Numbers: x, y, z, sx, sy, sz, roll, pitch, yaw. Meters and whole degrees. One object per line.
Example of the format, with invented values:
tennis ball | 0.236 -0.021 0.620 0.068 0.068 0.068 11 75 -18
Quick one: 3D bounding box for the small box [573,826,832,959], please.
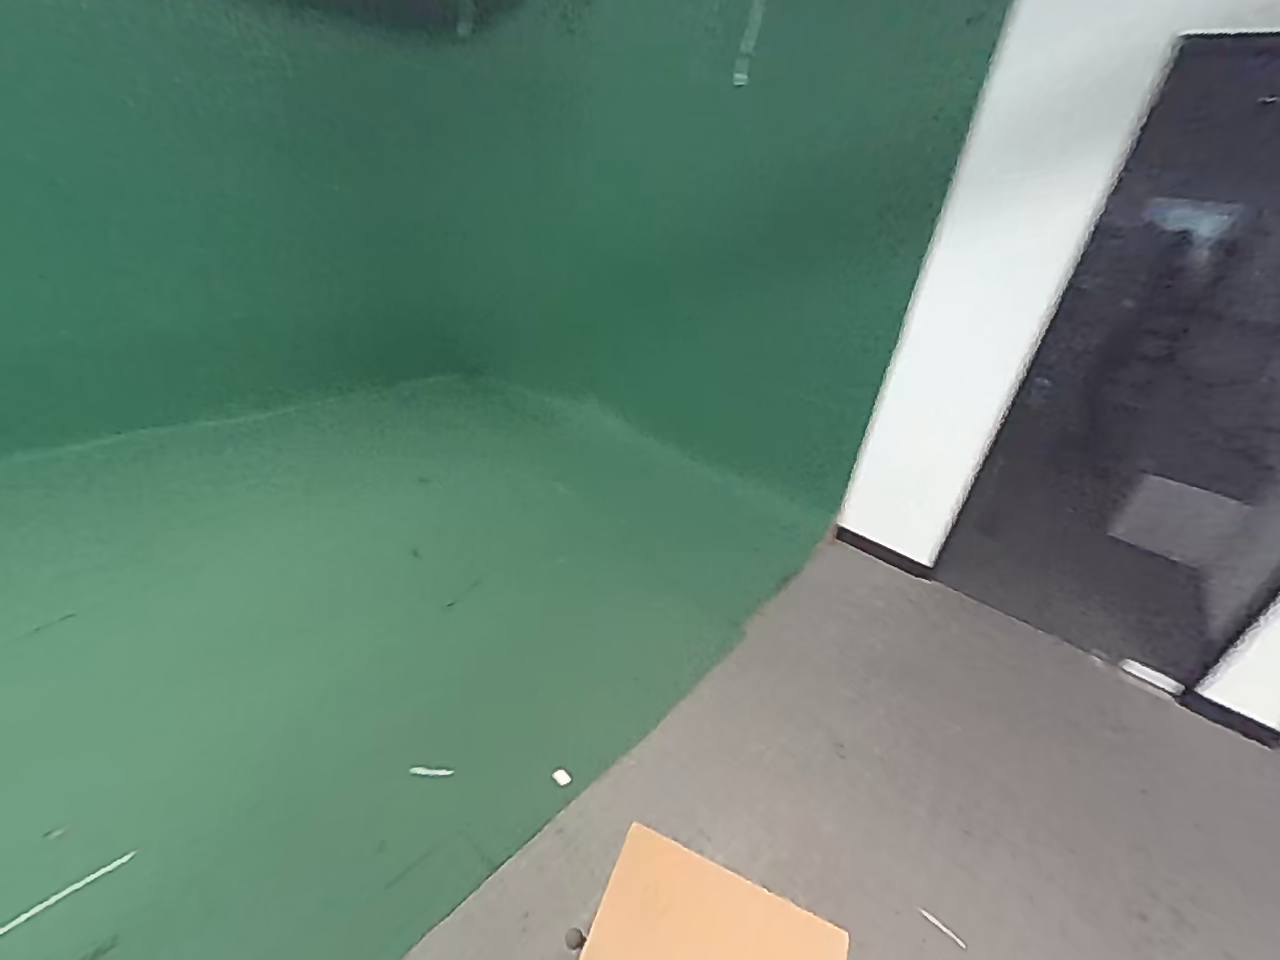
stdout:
small box | 0.022 0.403 0.397 0.168 0.176 0.179 20 46 13
